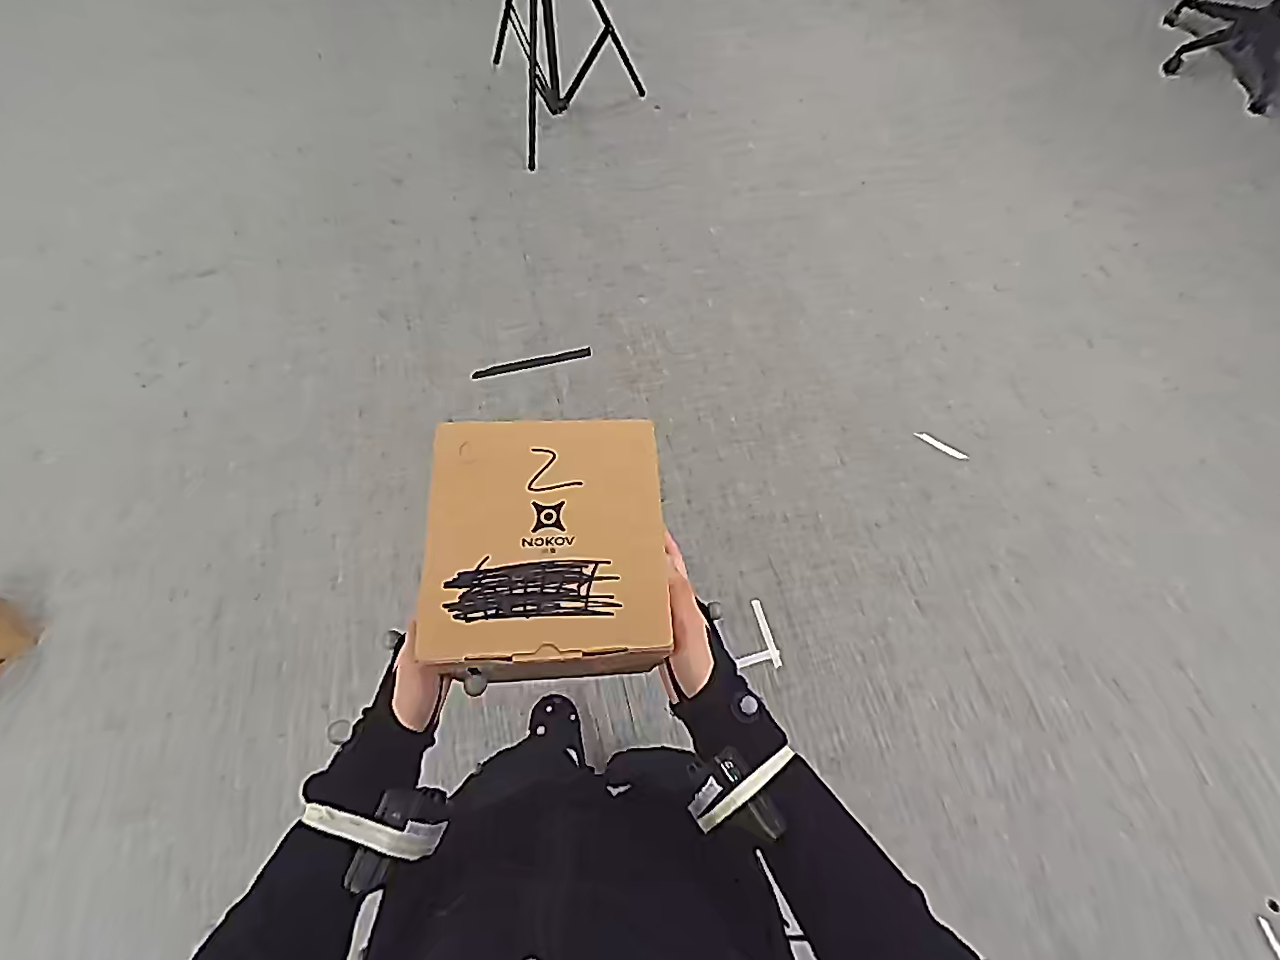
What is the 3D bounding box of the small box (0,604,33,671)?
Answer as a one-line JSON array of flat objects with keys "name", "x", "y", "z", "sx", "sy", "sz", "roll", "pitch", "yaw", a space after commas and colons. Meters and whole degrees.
[{"name": "small box", "x": -1.565, "y": 0.374, "z": 1.221, "sx": 0.179, "sy": 0.176, "sz": 0.168, "roll": 36, "pitch": 70, "yaw": 12}]
